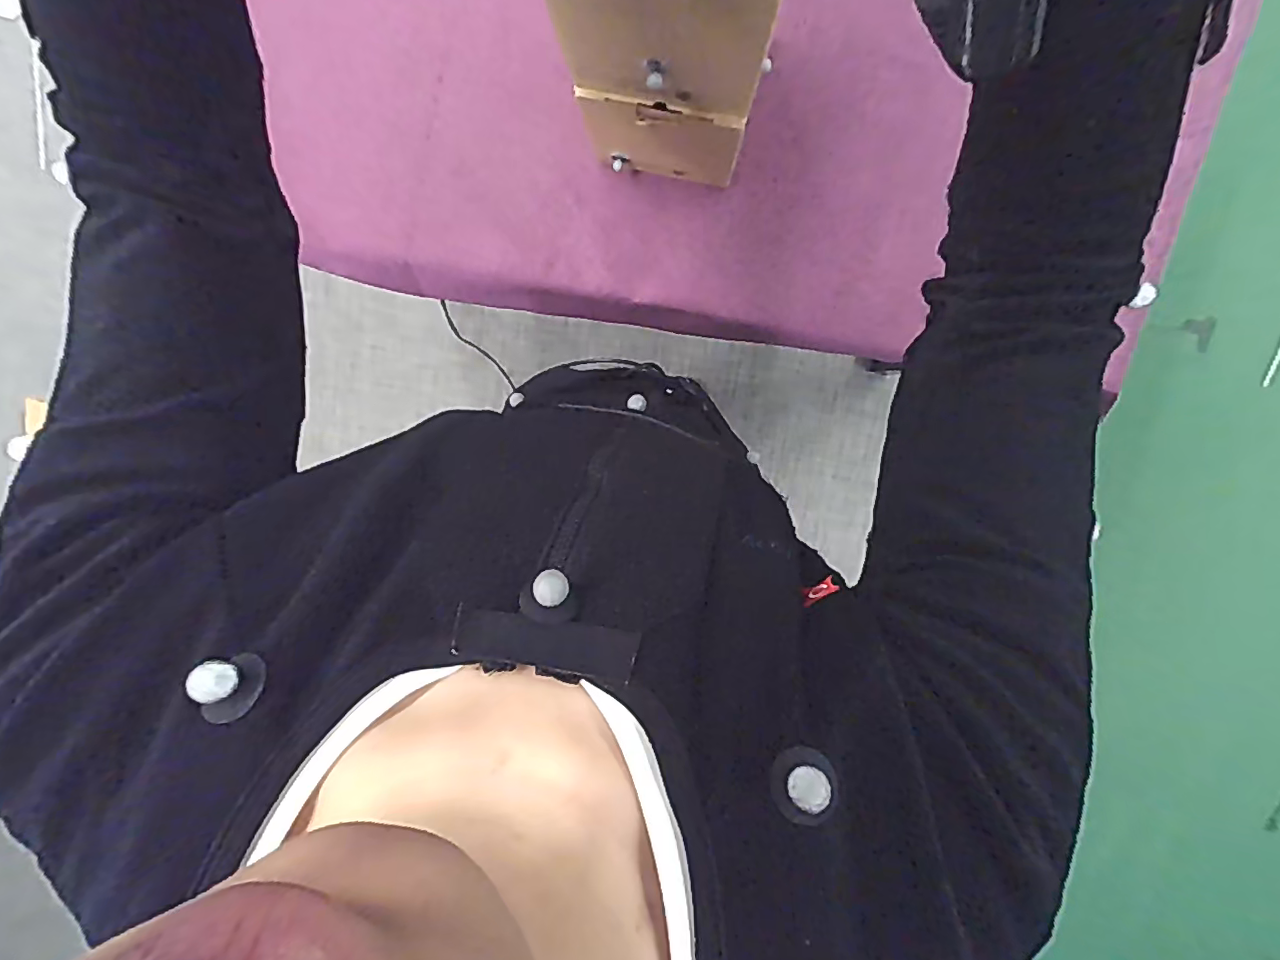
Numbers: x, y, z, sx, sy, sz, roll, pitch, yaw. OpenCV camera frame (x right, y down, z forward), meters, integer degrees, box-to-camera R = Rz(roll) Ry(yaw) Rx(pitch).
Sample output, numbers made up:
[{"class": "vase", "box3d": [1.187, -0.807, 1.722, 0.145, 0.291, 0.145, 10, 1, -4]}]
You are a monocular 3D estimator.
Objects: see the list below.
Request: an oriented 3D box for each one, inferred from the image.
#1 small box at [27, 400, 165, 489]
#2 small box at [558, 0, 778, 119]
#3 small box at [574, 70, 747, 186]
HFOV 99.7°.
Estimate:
[{"class": "small box", "box3d": [-1.275, -0.090, 1.280, 0.168, 0.176, 0.179, 8, 100, 1]}, {"class": "small box", "box3d": [0.029, -0.420, 0.411, 0.168, 0.176, 0.179, 12, 101, 1]}, {"class": "small box", "box3d": [0.037, -0.441, 0.574, 0.168, 0.176, 0.179, 12, 100, 1]}]
